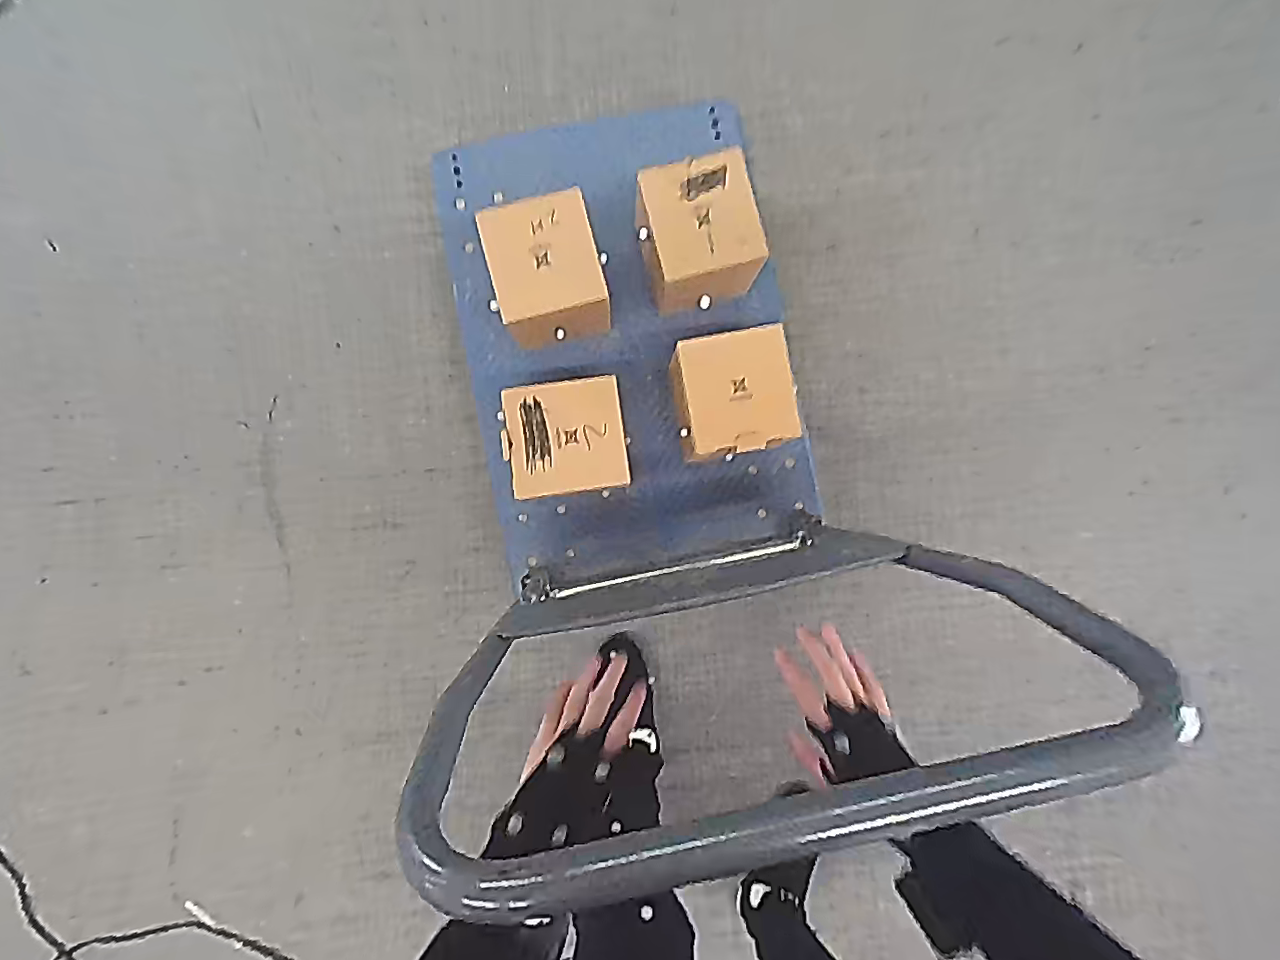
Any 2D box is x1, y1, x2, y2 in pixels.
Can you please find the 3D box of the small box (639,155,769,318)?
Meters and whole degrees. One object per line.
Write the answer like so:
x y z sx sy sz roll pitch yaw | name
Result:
0.096 -0.394 0.903 0.168 0.176 0.179 -15 90 -1 | small box

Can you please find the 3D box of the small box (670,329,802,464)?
0.149 -0.129 0.897 0.168 0.176 0.179 -10 89 -2 | small box

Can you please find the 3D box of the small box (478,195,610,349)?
-0.148 -0.329 0.894 0.168 0.176 0.179 -14 88 -3 | small box
